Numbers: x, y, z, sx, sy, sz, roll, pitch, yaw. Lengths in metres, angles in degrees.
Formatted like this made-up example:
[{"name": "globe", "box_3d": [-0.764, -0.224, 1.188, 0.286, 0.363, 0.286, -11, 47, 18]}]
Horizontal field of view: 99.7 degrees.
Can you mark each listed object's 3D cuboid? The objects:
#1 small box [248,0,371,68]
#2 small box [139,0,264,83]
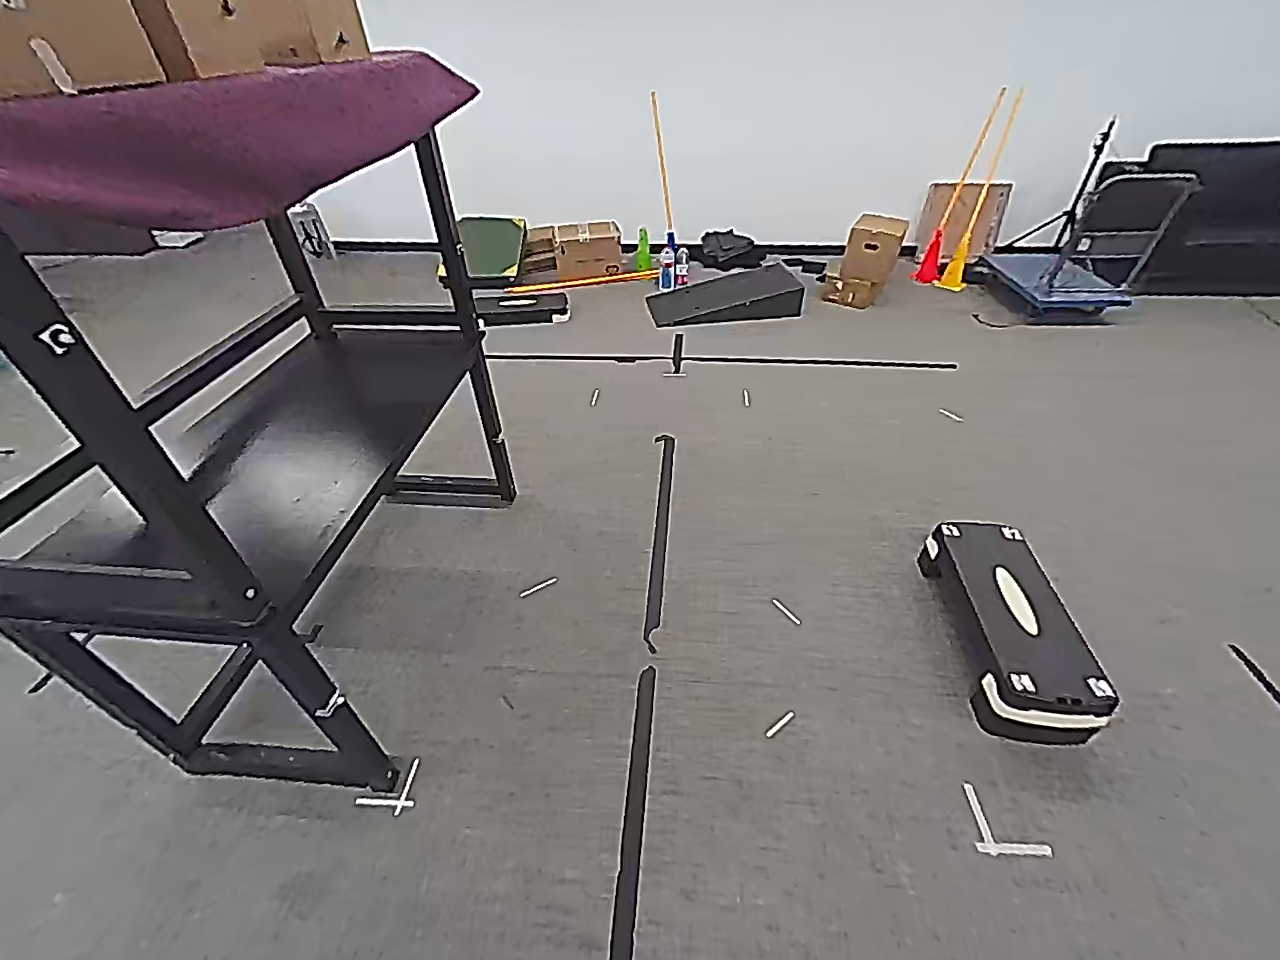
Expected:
[{"name": "small box", "box_3d": [-0.720, -1.009, 1.178, 0.168, 0.176, 0.179, 9, 41, 13]}, {"name": "small box", "box_3d": [-0.765, -0.762, 0.888, 0.168, 0.176, 0.179, 2, 40, 6]}]
